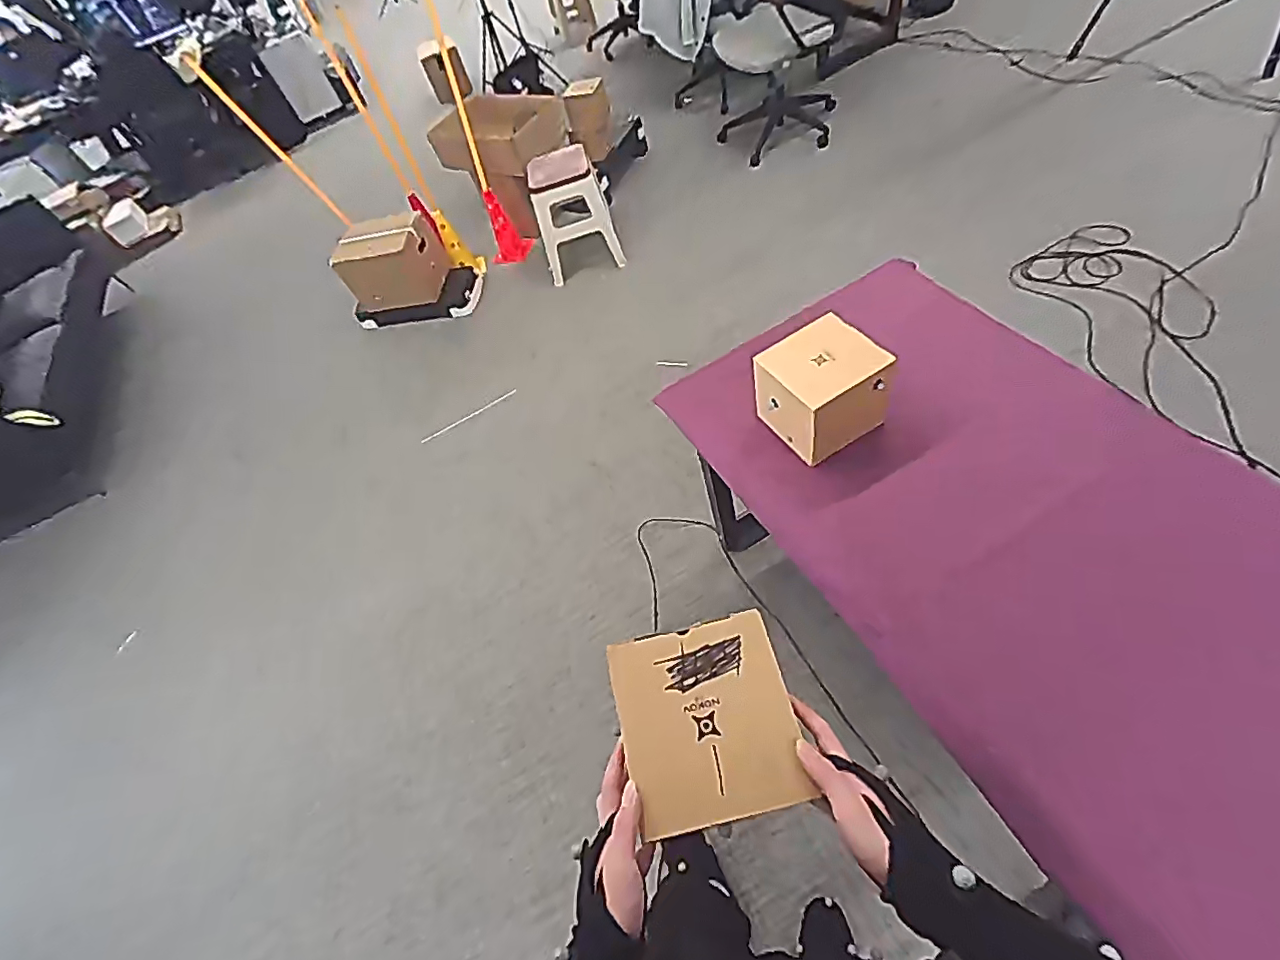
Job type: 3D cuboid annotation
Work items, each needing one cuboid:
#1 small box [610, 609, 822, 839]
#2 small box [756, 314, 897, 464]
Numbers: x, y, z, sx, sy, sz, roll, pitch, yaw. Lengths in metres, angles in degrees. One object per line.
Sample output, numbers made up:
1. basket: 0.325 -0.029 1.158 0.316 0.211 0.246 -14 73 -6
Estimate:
1. small box: 0.071 0.262 0.580 0.168 0.176 0.179 -14 60 -1
2. small box: 0.335 -0.161 0.990 0.179 0.176 0.168 -31 54 -7
